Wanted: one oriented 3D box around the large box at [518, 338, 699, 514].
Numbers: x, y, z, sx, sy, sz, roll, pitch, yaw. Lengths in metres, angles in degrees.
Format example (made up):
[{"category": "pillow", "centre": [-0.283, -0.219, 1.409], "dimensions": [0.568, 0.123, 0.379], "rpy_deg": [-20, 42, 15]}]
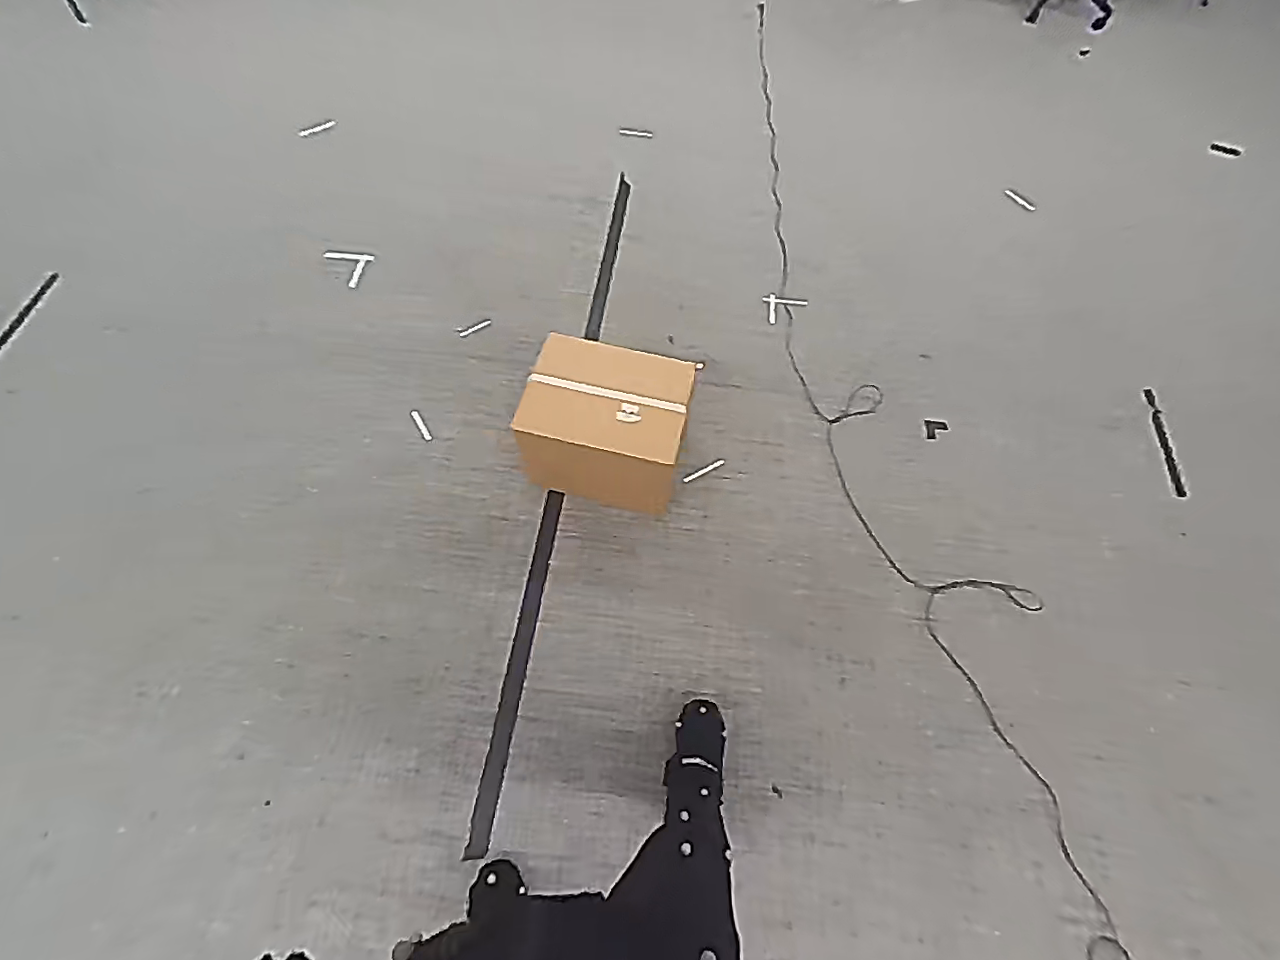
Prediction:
[{"category": "large box", "centre": [-0.080, -0.139, 1.494], "dimensions": [0.408, 0.320, 0.320], "rpy_deg": [14, 63, 4]}]
